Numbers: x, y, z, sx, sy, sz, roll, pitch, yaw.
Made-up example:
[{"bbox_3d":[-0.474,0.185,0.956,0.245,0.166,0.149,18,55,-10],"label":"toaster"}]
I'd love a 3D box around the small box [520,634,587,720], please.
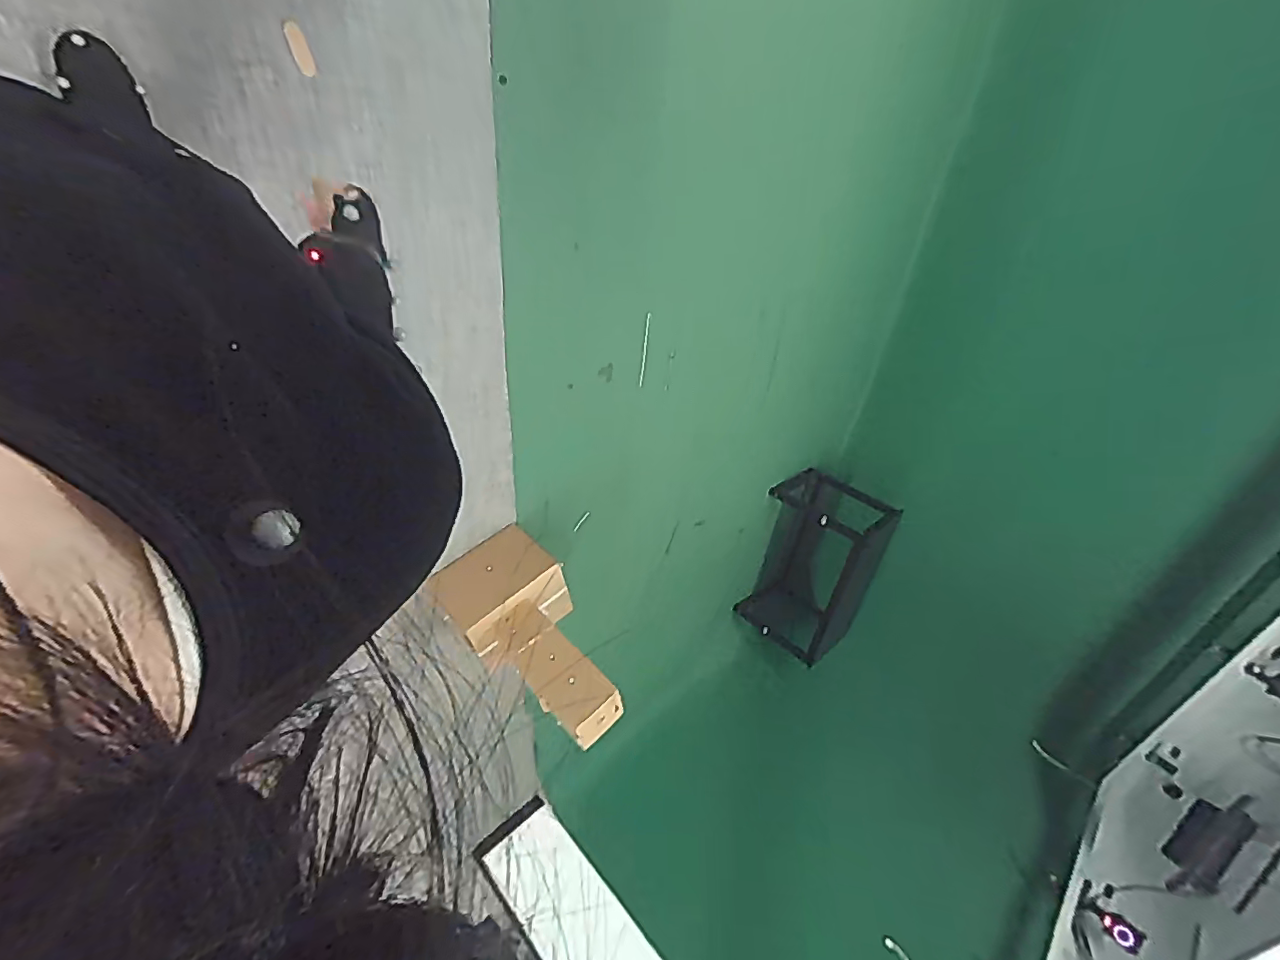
[{"bbox_3d":[-0.285,0.660,1.825,0.179,0.176,0.168,-37,140,-27],"label":"small box"}]

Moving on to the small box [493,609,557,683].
[{"bbox_3d":[-0.396,0.585,1.919,0.168,0.176,0.179,-35,139,-28],"label":"small box"}]

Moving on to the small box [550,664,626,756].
[{"bbox_3d":[-0.170,0.733,1.733,0.179,0.176,0.168,-35,139,-27],"label":"small box"}]

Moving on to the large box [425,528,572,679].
[{"bbox_3d":[-0.534,0.466,2.087,0.408,0.320,0.320,-37,141,-28],"label":"large box"}]
